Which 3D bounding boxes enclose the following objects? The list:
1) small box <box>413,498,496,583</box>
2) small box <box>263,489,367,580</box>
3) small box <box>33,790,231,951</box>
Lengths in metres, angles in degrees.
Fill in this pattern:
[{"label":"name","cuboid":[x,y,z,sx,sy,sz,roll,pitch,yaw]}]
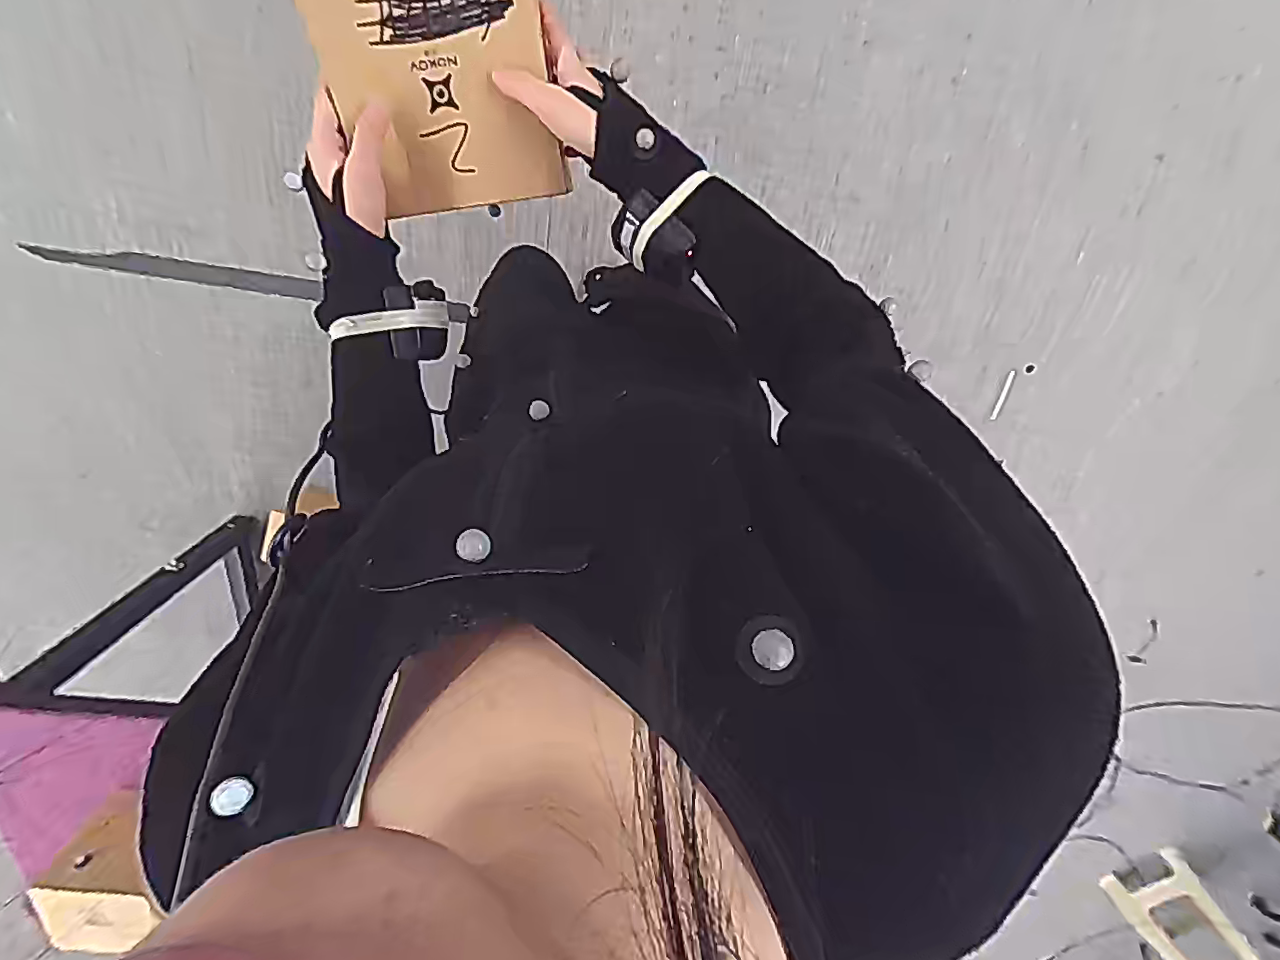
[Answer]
[{"label":"small box","cuboid":[-0.520,0.164,1.528,0.179,0.176,0.168,11,113,-6]},{"label":"small box","cuboid":[-0.899,0.144,1.507,0.179,0.176,0.168,22,111,-12]},{"label":"small box","cuboid":[-0.865,0.672,0.942,0.179,0.176,0.168,8,114,-6]}]
